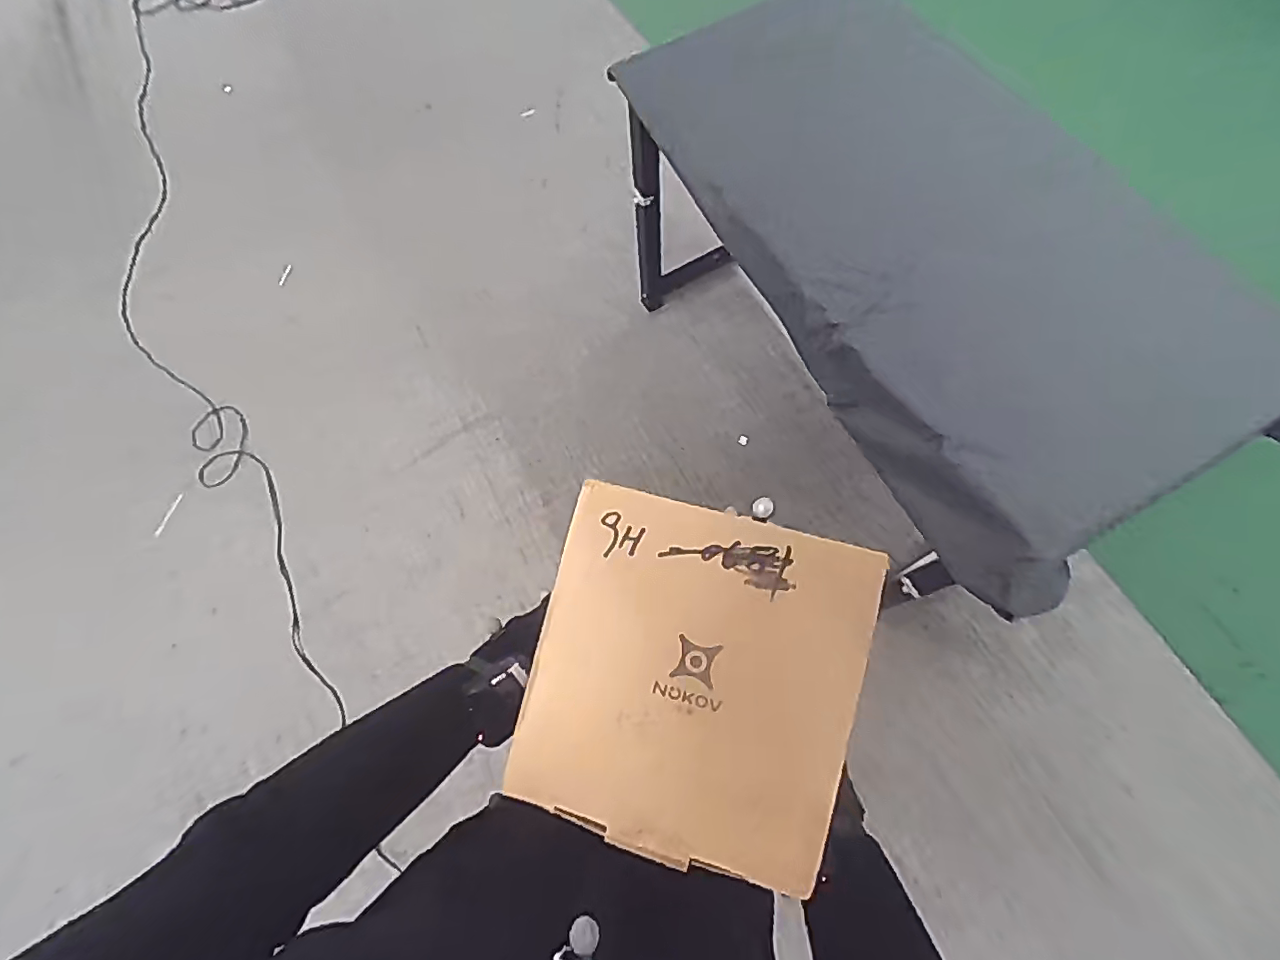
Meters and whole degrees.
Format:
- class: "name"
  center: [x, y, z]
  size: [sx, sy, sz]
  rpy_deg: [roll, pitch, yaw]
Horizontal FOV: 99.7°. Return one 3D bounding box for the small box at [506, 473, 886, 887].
- class: "small box"
  center: [0.036, 0.103, 0.359]
  size: [0.168, 0.176, 0.179]
  rpy_deg: [14, 88, 8]
